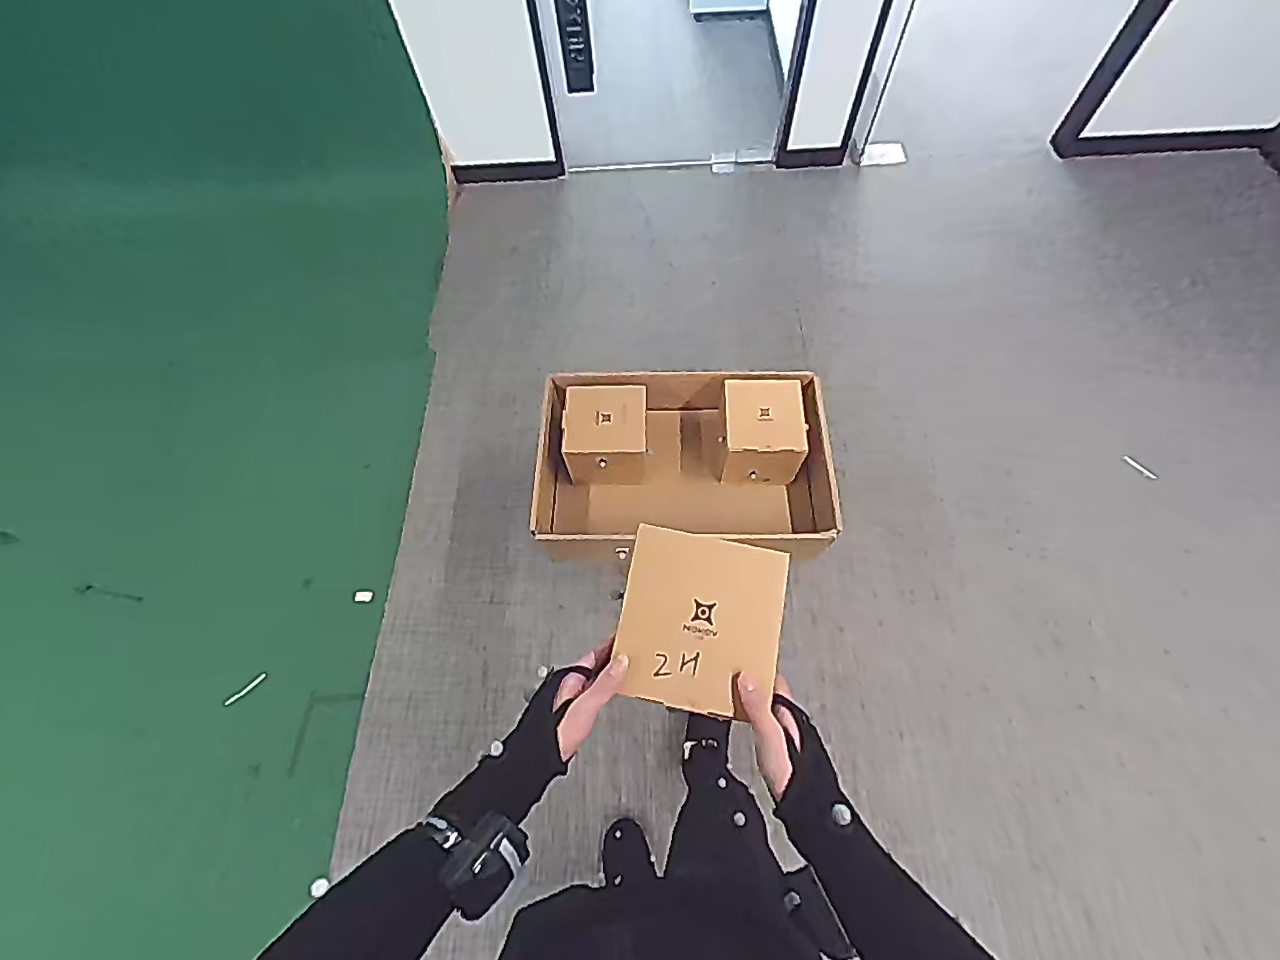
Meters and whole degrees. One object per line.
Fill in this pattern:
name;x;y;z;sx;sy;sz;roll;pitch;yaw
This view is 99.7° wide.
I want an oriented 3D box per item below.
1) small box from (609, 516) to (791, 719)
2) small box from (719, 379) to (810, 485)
small box;0.061;0.158;0.631;0.168;0.176;0.179;12;74;2
small box;0.269;-0.105;1.205;0.168;0.176;0.179;1;66;2
